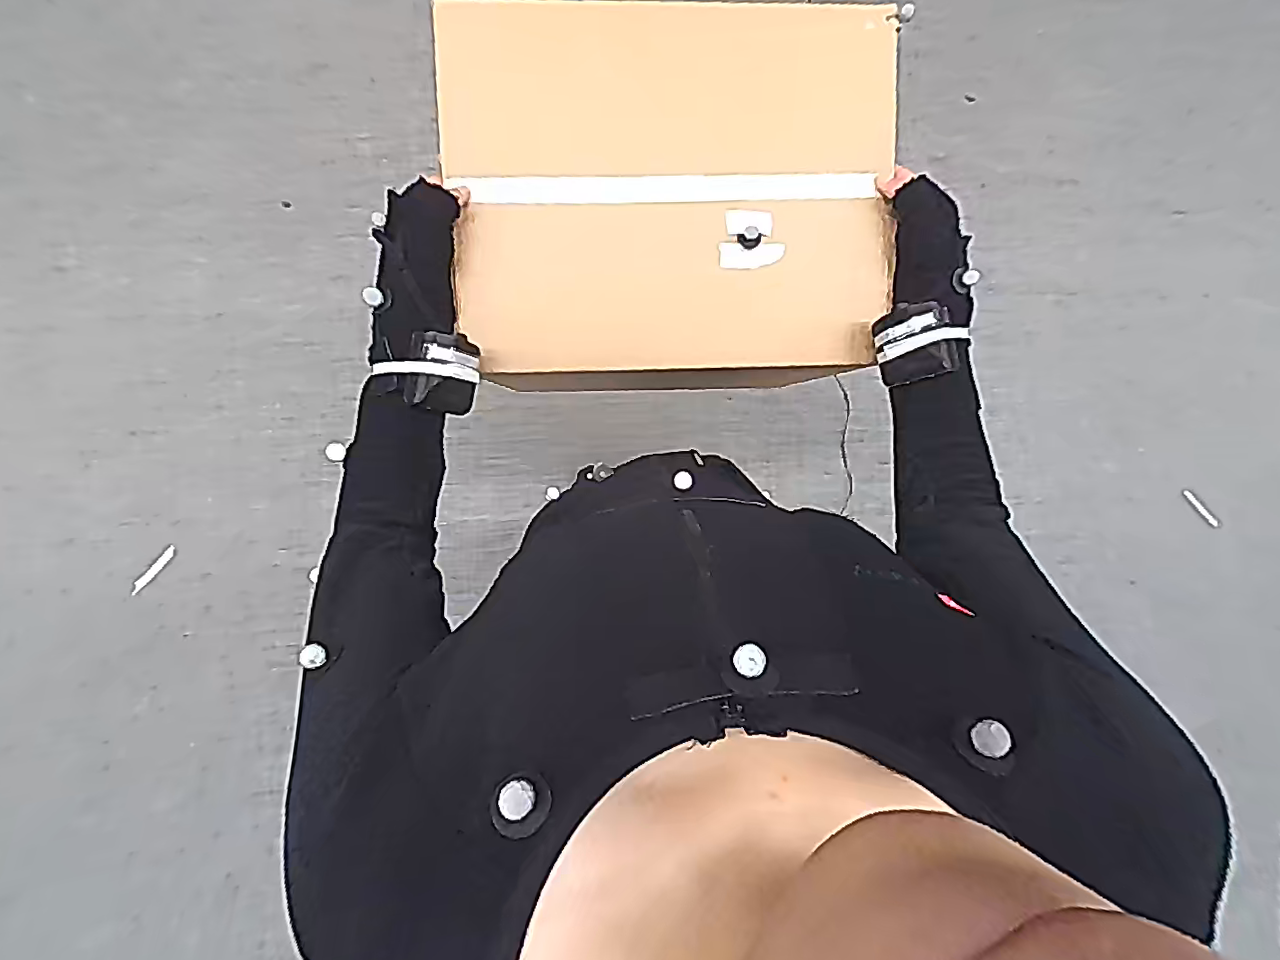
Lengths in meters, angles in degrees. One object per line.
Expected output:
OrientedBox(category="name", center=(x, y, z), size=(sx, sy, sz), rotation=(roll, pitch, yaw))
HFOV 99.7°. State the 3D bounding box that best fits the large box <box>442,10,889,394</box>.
OrientedBox(category="large box", center=(0.021, -0.275, 0.638), size=(0.408, 0.320, 0.320), rotation=(-2, 96, -4))
